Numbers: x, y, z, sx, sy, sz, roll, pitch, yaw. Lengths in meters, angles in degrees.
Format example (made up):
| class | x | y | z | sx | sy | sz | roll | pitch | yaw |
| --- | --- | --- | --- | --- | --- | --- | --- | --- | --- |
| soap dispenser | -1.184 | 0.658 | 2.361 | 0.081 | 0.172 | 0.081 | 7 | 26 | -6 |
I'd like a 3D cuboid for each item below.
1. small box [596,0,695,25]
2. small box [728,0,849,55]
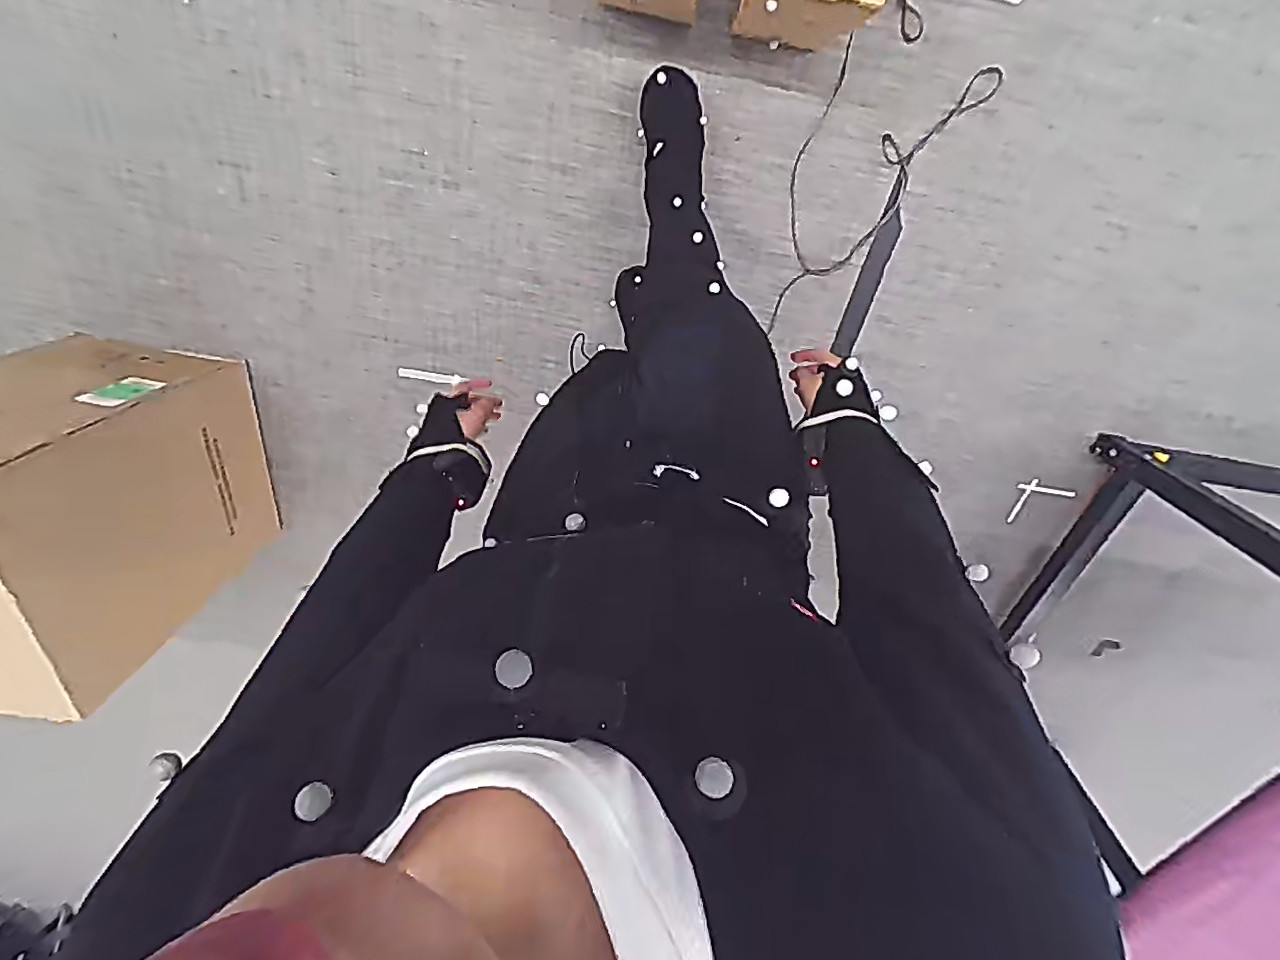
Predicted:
| class | x | y | z | sx | sy | sz | roll | pitch | yaw |
| --- | --- | --- | --- | --- | --- | --- | --- | --- | --- |
| small box | 0.012 | -0.840 | 0.836 | 0.179 | 0.176 | 0.168 | 12 | 121 | -2 |
| small box | 0.240 | -0.803 | 0.847 | 0.168 | 0.176 | 0.179 | 10 | 121 | -3 |
